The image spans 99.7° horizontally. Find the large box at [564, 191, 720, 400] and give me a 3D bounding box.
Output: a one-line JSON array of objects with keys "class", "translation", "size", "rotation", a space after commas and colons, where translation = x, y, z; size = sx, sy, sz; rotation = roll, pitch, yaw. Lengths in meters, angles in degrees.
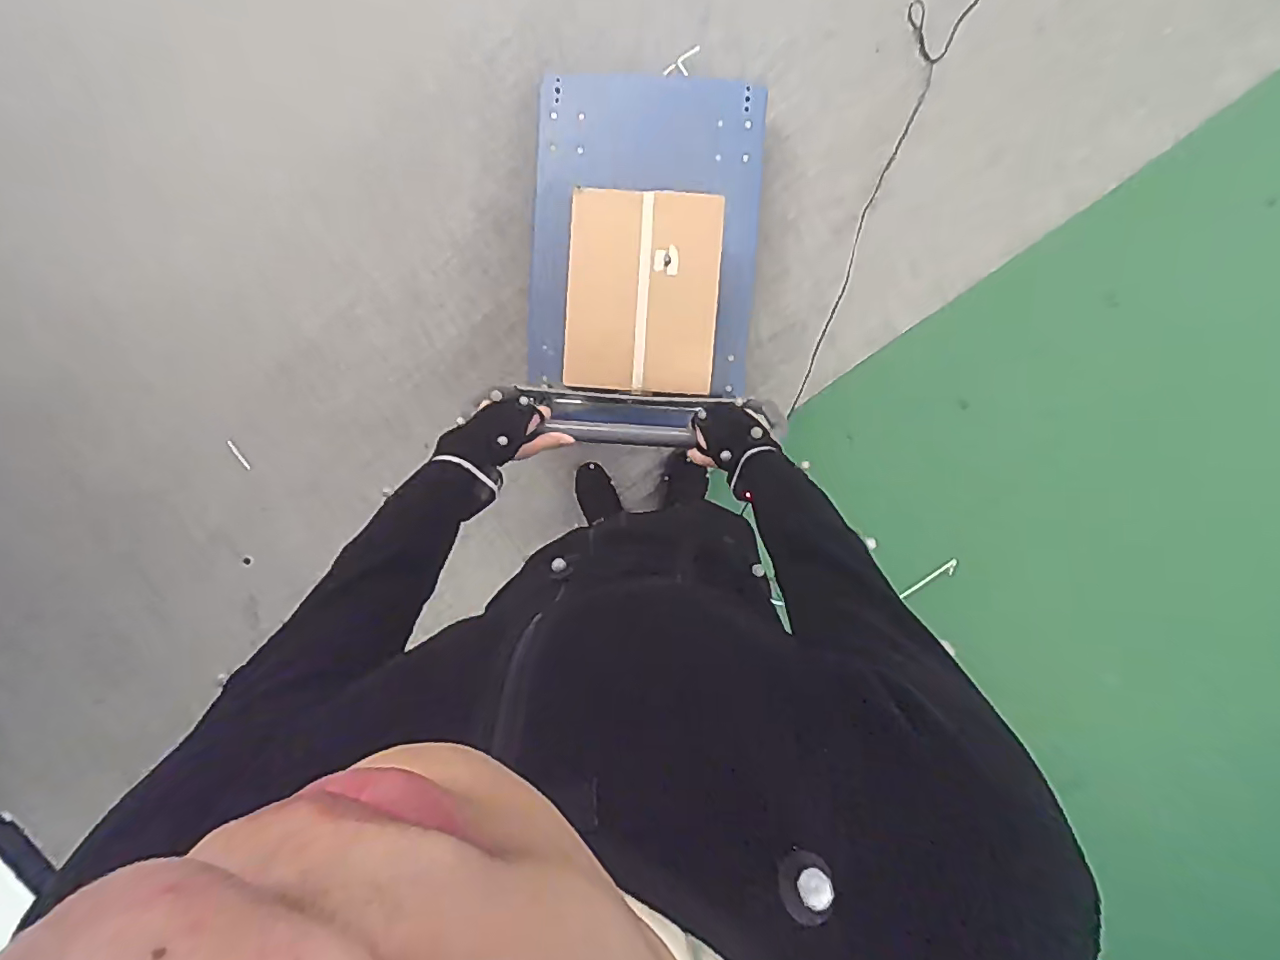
[{"class": "large box", "translation": [0.007, -0.405, 1.284], "size": [0.320, 0.320, 0.408], "rotation": [4, 95, 1]}]
